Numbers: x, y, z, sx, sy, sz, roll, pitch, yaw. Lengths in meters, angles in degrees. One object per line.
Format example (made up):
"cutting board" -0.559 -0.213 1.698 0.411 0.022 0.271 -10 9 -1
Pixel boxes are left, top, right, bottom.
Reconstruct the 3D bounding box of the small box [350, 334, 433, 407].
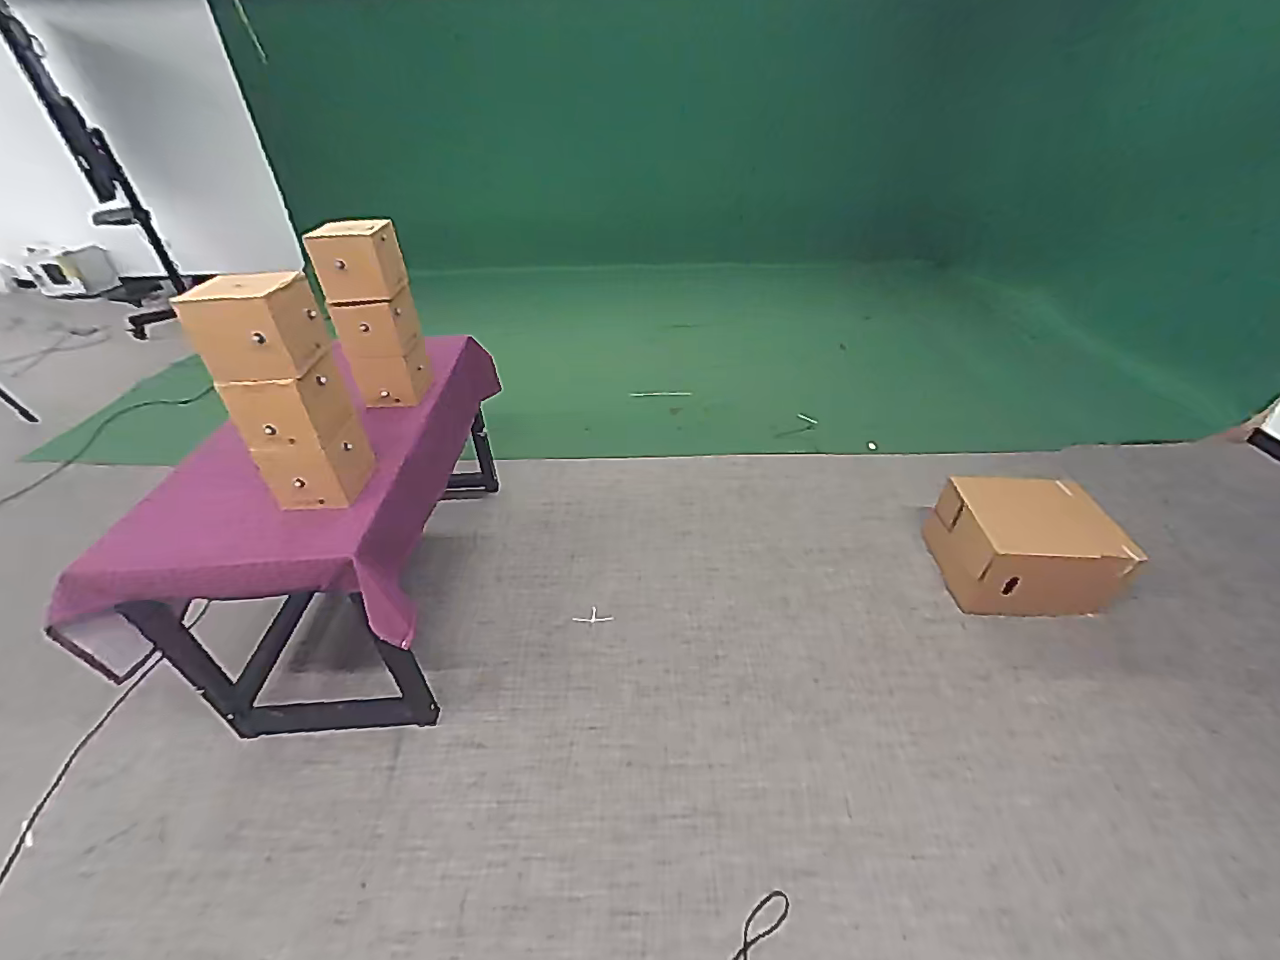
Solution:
"small box" -0.763 -0.341 1.684 0.168 0.176 0.179 -2 38 1

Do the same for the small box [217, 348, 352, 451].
"small box" -0.772 -0.180 1.201 0.168 0.176 0.179 -1 38 1

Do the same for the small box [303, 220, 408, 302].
"small box" -0.762 -0.593 1.470 0.179 0.176 0.168 -4 38 0

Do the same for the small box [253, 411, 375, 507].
"small box" -0.765 -0.047 1.296 0.168 0.176 0.179 -1 37 1

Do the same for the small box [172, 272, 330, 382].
"small box" -0.774 -0.312 1.105 0.179 0.176 0.168 -3 37 0
